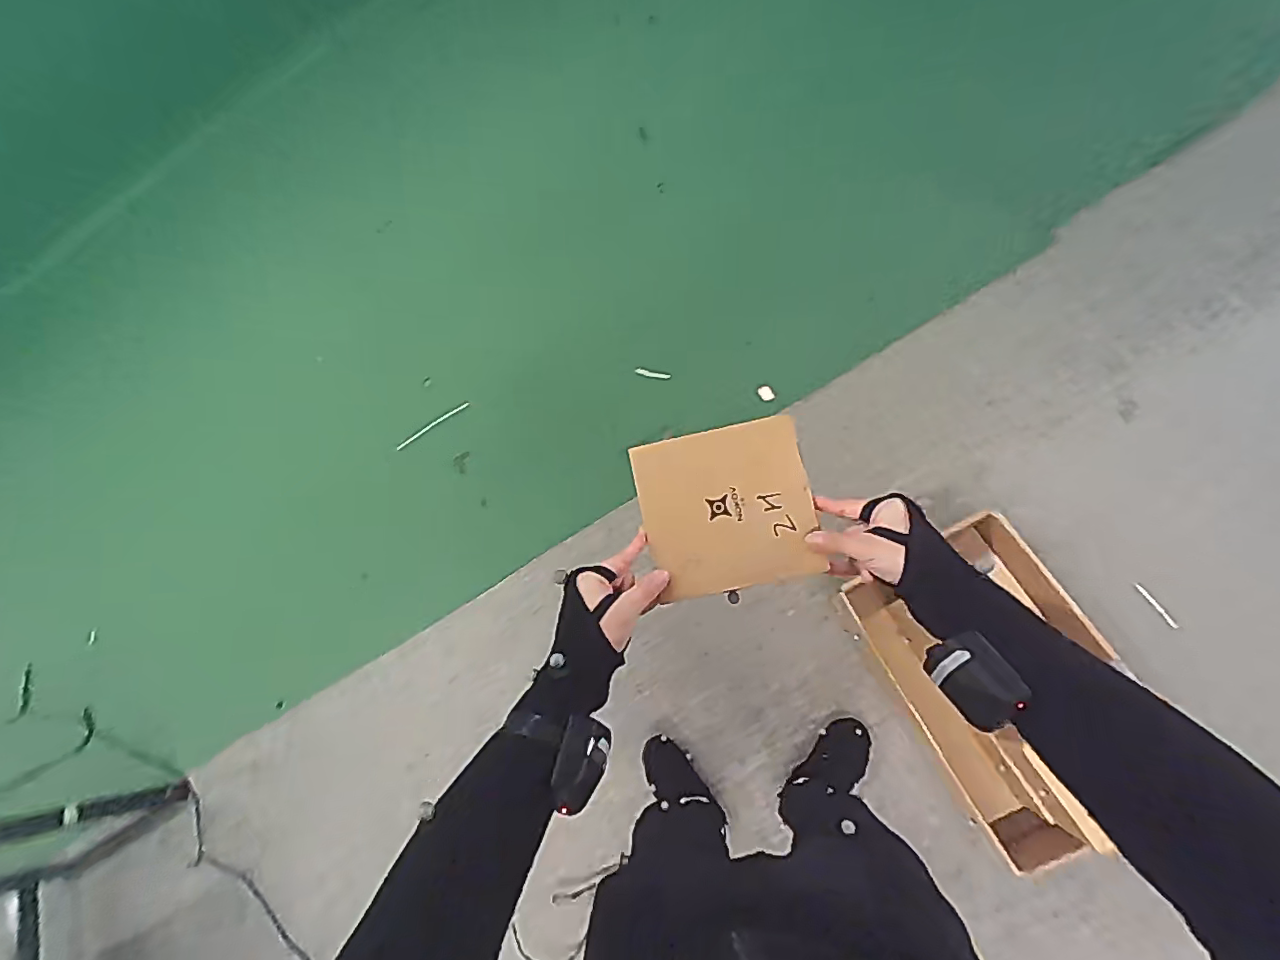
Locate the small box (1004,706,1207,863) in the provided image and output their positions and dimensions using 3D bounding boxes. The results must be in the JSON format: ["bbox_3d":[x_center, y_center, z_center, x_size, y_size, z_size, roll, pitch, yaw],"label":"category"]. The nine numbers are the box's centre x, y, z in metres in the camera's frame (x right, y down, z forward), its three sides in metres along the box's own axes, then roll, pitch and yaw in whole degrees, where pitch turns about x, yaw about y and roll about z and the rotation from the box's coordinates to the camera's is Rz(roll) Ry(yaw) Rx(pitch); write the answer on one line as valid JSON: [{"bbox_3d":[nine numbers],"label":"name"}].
[{"bbox_3d":[0.780,0.510,0.936,0.168,0.176,0.179,-32,66,6],"label":"small box"}]

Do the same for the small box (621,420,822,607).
[{"bbox_3d":[0.088,0.047,0.622,0.179,0.176,0.168,-12,79,3],"label":"small box"}]
